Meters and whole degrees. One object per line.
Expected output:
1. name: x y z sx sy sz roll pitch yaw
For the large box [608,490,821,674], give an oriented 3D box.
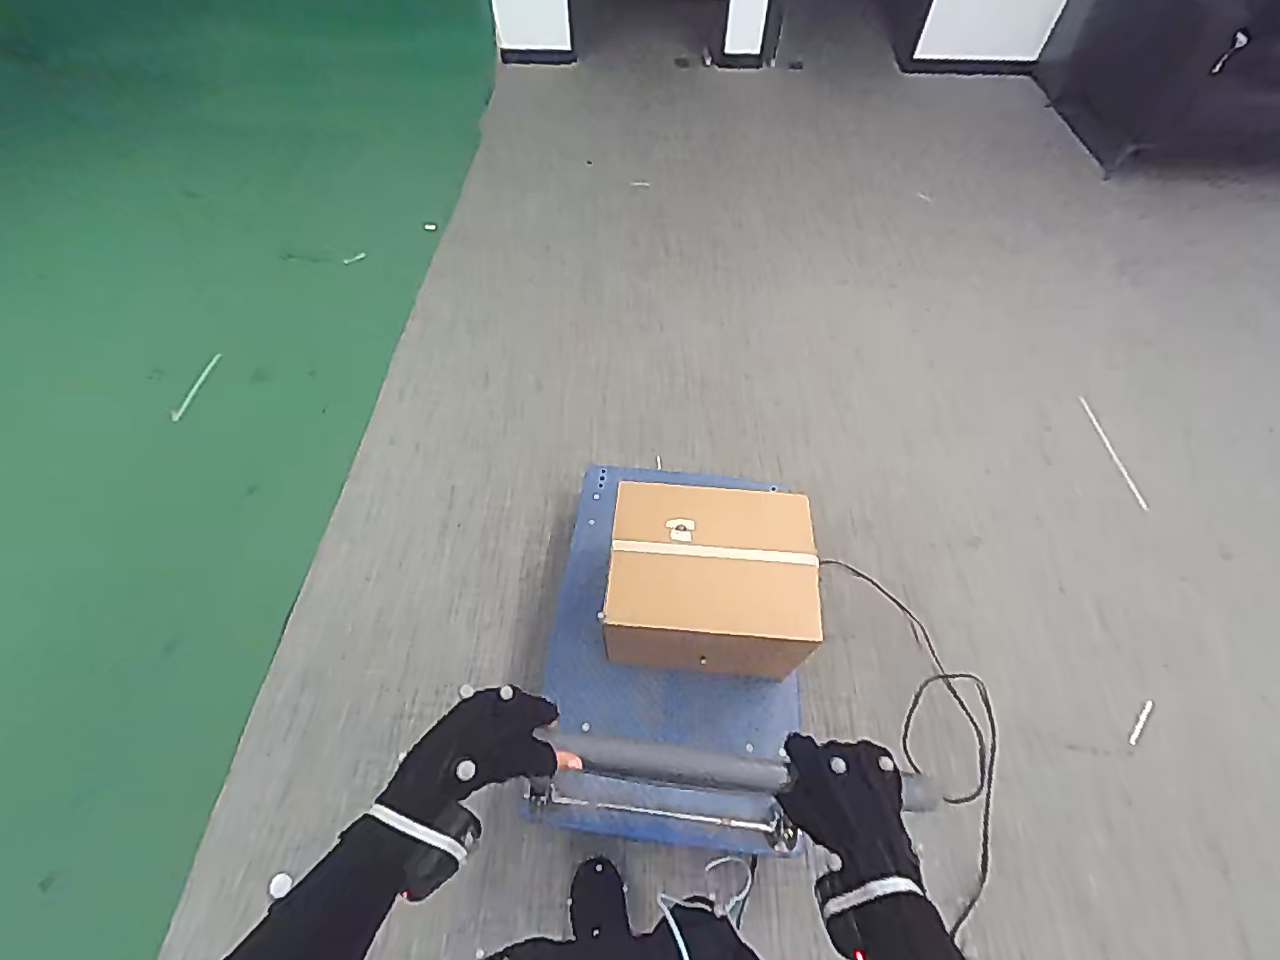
1. large box: 0.149 0.237 1.206 0.408 0.320 0.320 3 58 3
